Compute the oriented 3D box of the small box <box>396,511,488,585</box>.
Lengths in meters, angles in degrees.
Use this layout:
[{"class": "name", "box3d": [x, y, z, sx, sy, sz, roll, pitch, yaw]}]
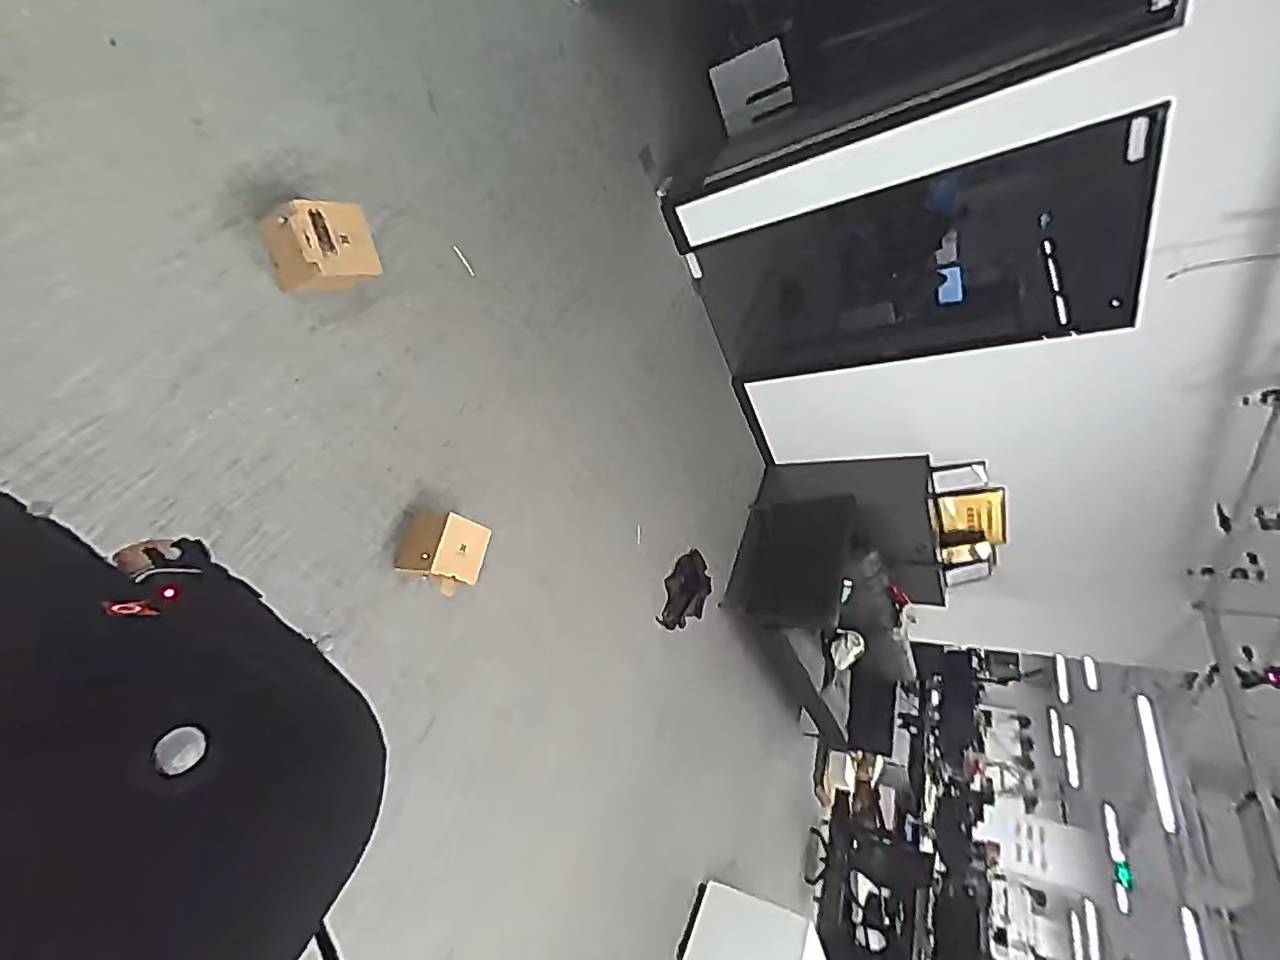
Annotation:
[{"class": "small box", "box3d": [-0.585, 0.200, 1.594, 0.168, 0.176, 0.179, 37, 58, -50]}]
